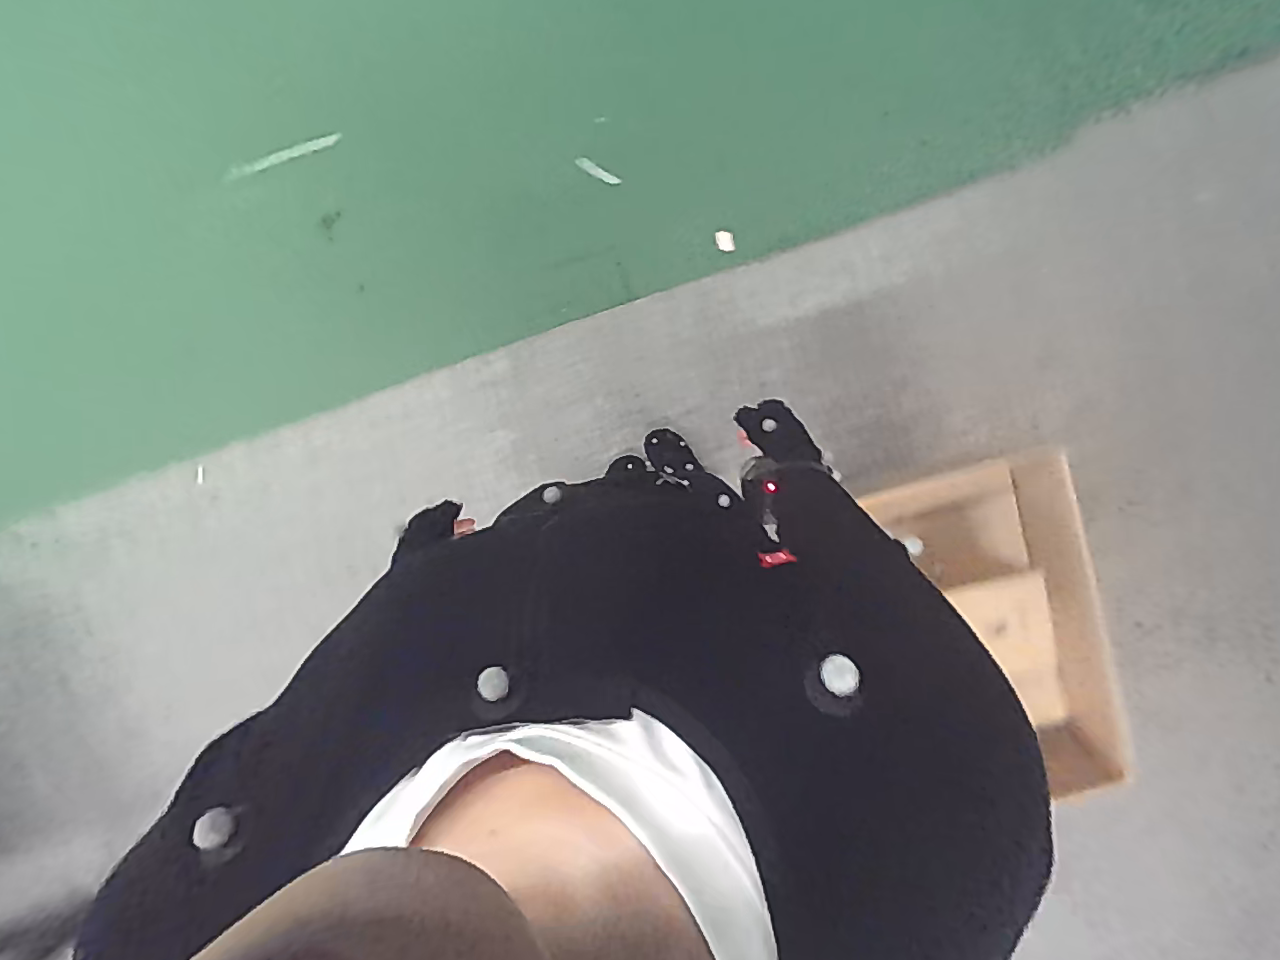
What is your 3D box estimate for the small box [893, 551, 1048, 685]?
[{"bbox_3d":[0.582,0.240,0.978,0.179,0.176,0.168,-13,97,0],"label":"small box"}]
